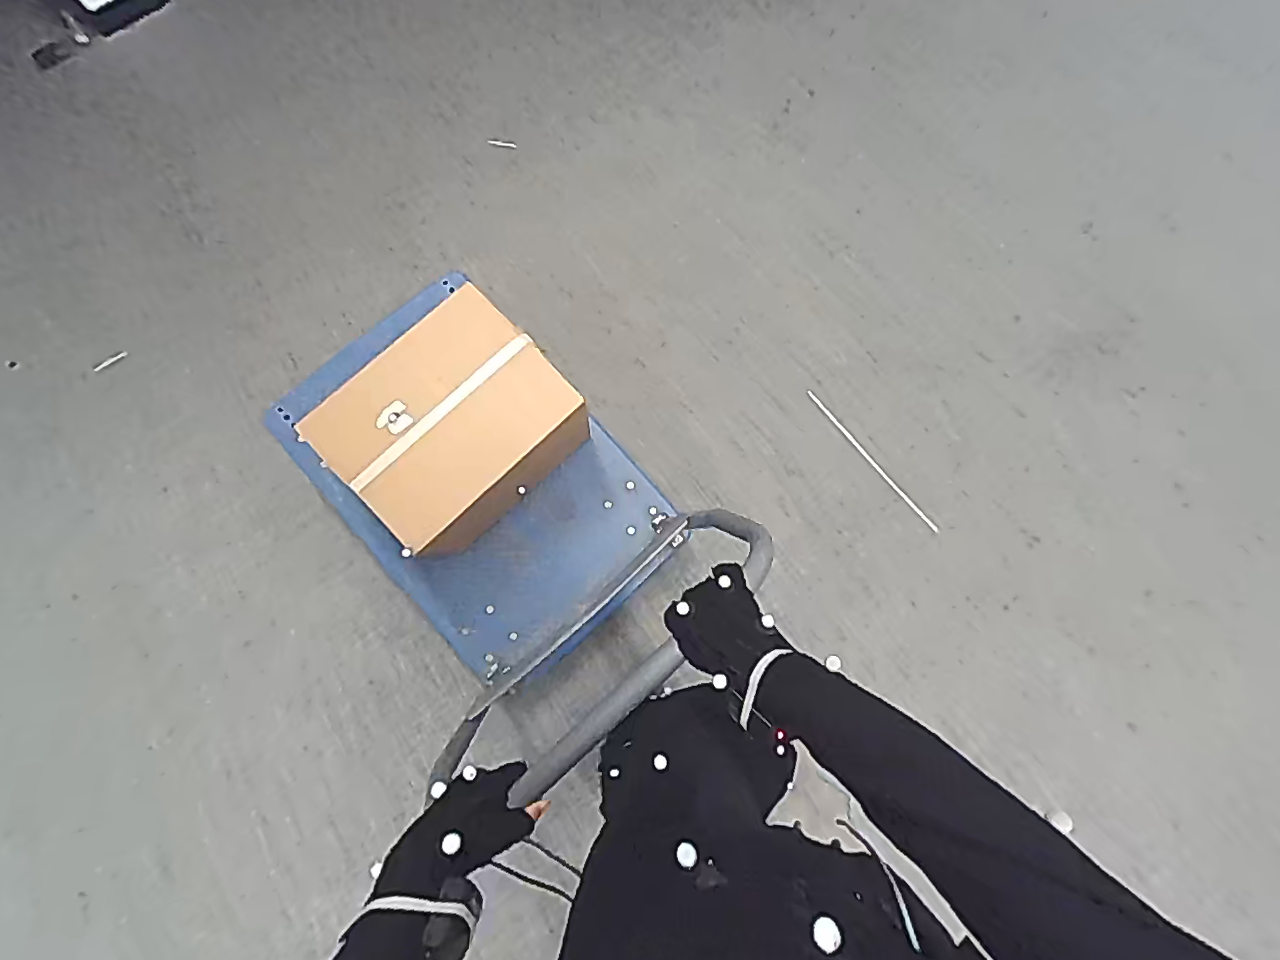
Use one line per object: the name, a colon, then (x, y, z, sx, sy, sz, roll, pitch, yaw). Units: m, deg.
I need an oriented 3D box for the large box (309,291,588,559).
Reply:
large box: (-0.354, -0.094, 1.123, 0.320, 0.320, 0.408, 44, 84, 2)
